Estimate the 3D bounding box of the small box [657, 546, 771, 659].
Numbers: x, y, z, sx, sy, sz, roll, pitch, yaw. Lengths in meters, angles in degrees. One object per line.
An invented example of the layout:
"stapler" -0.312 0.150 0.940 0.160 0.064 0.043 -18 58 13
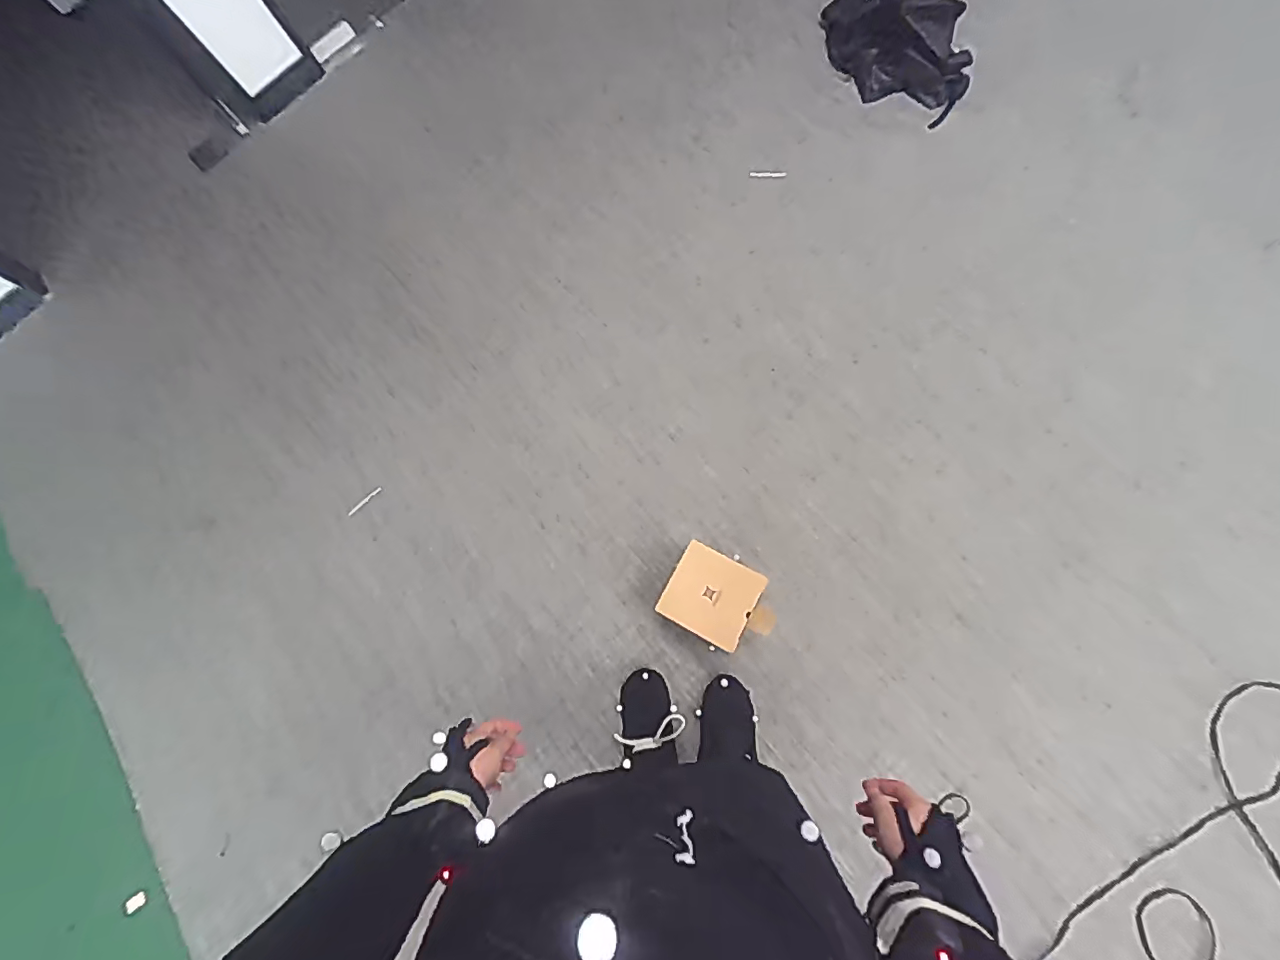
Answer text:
"small box" 0.157 0.262 1.146 0.179 0.176 0.168 27 80 15
